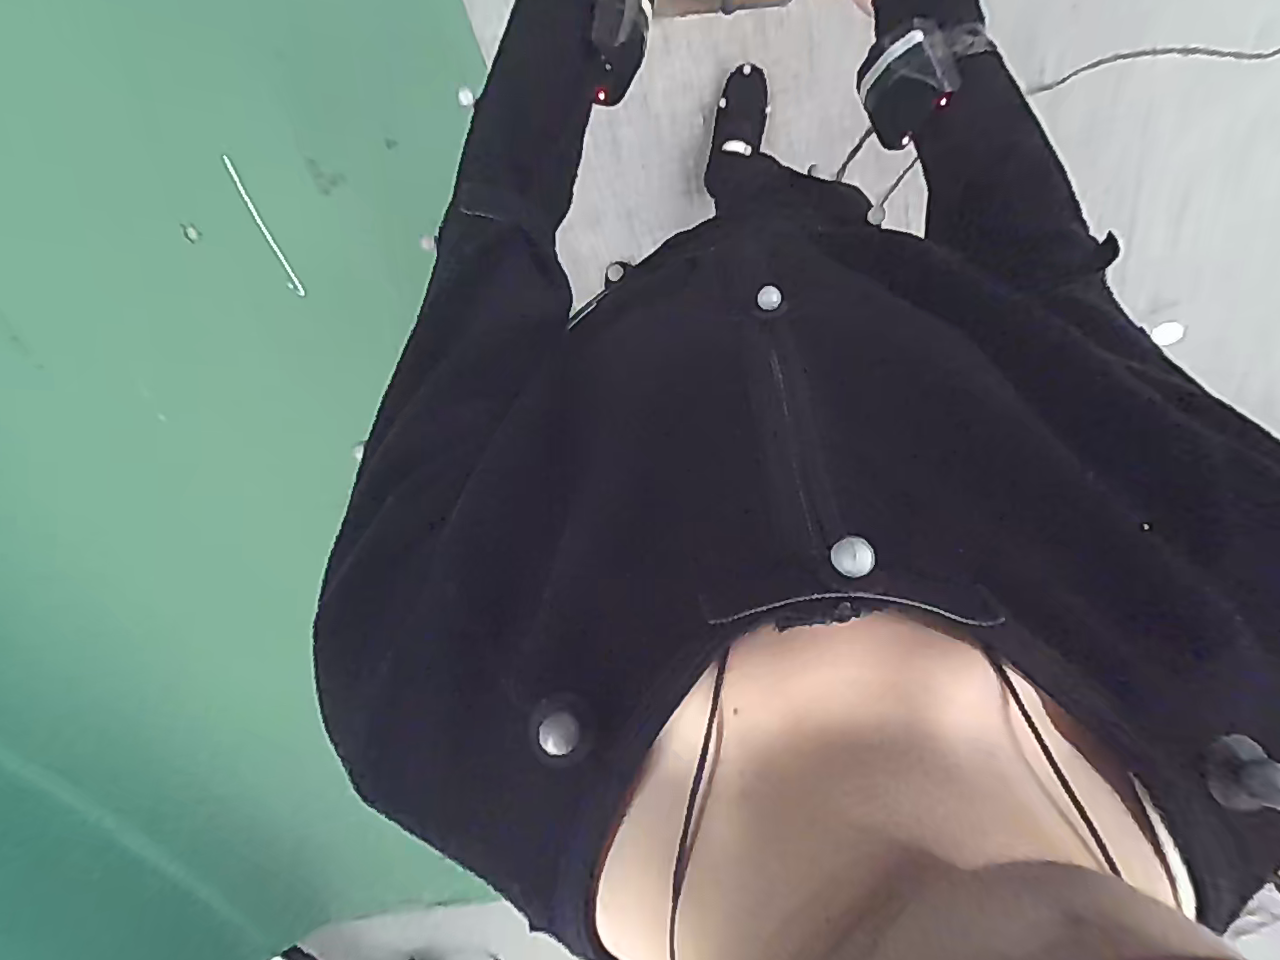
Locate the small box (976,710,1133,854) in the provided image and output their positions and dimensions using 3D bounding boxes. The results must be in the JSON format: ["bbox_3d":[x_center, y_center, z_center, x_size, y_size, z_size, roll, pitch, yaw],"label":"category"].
[{"bbox_3d":[0.765,0.568,1.023,0.168,0.176,0.179,-12,119,7],"label":"small box"}]

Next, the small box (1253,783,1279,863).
[{"bbox_3d":[1.123,0.571,0.832,0.179,0.176,0.168,-20,117,11],"label":"small box"}]

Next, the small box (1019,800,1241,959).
[{"bbox_3d":[0.772,0.646,0.878,0.179,0.176,0.168,-2,120,3],"label":"small box"}]
